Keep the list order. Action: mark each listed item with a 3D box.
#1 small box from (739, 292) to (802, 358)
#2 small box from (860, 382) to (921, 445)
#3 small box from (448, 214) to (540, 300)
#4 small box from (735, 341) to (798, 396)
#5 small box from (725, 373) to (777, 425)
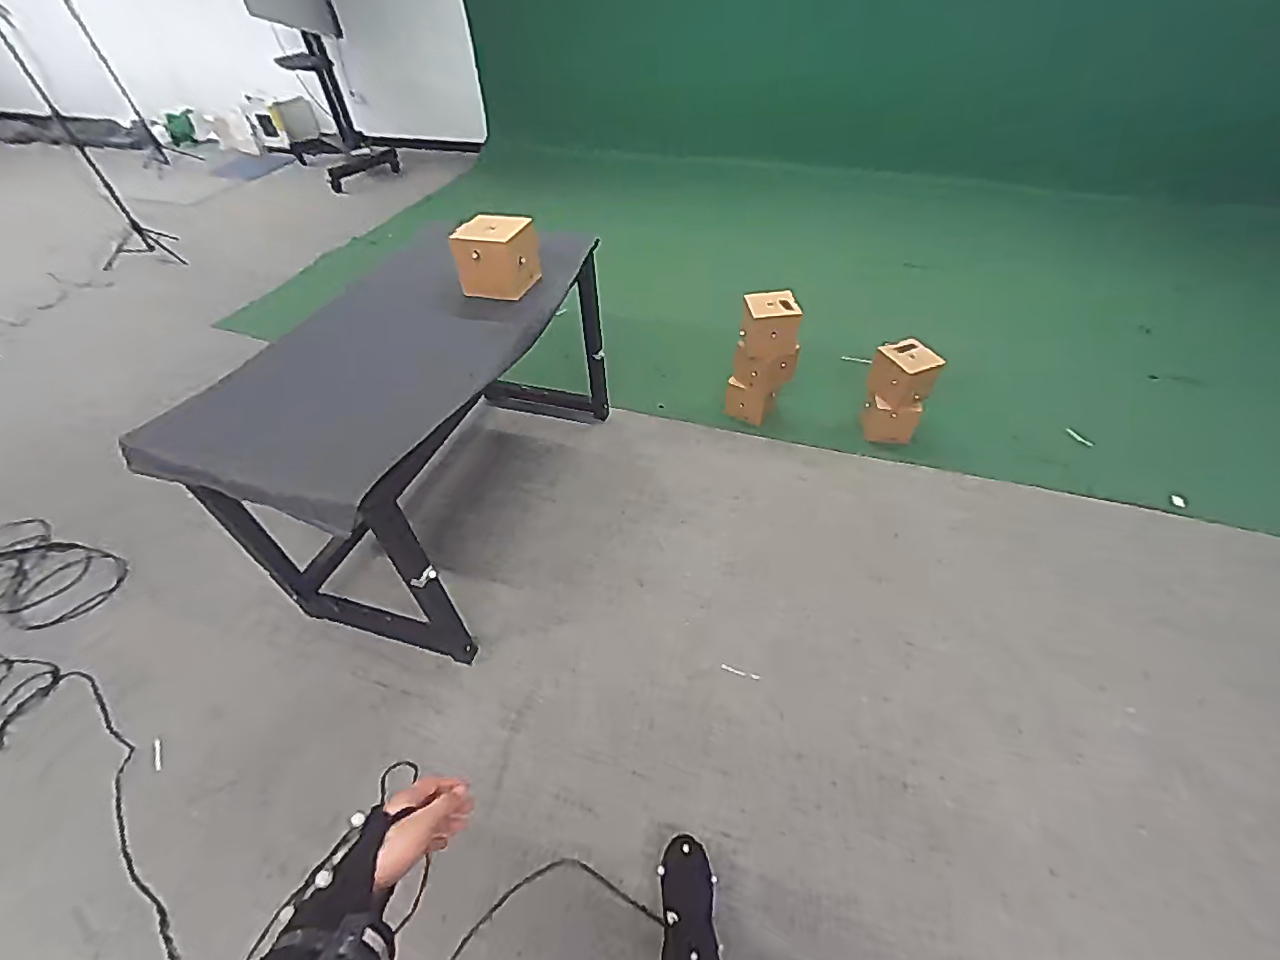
[{"bbox_3d":[0.473,-0.569,1.987,0.179,0.176,0.168,-5,48,-2],"label":"small box"},{"bbox_3d":[0.978,-0.262,2.128,0.168,0.176,0.179,6,46,7],"label":"small box"},{"bbox_3d":[-0.400,-0.624,1.519,0.179,0.176,0.168,11,48,14],"label":"small box"},{"bbox_3d":[0.485,-0.454,2.105,0.179,0.176,0.168,-27,53,-23],"label":"small box"},{"bbox_3d":[0.461,-0.355,2.234,0.168,0.176,0.179,26,53,23],"label":"small box"}]
